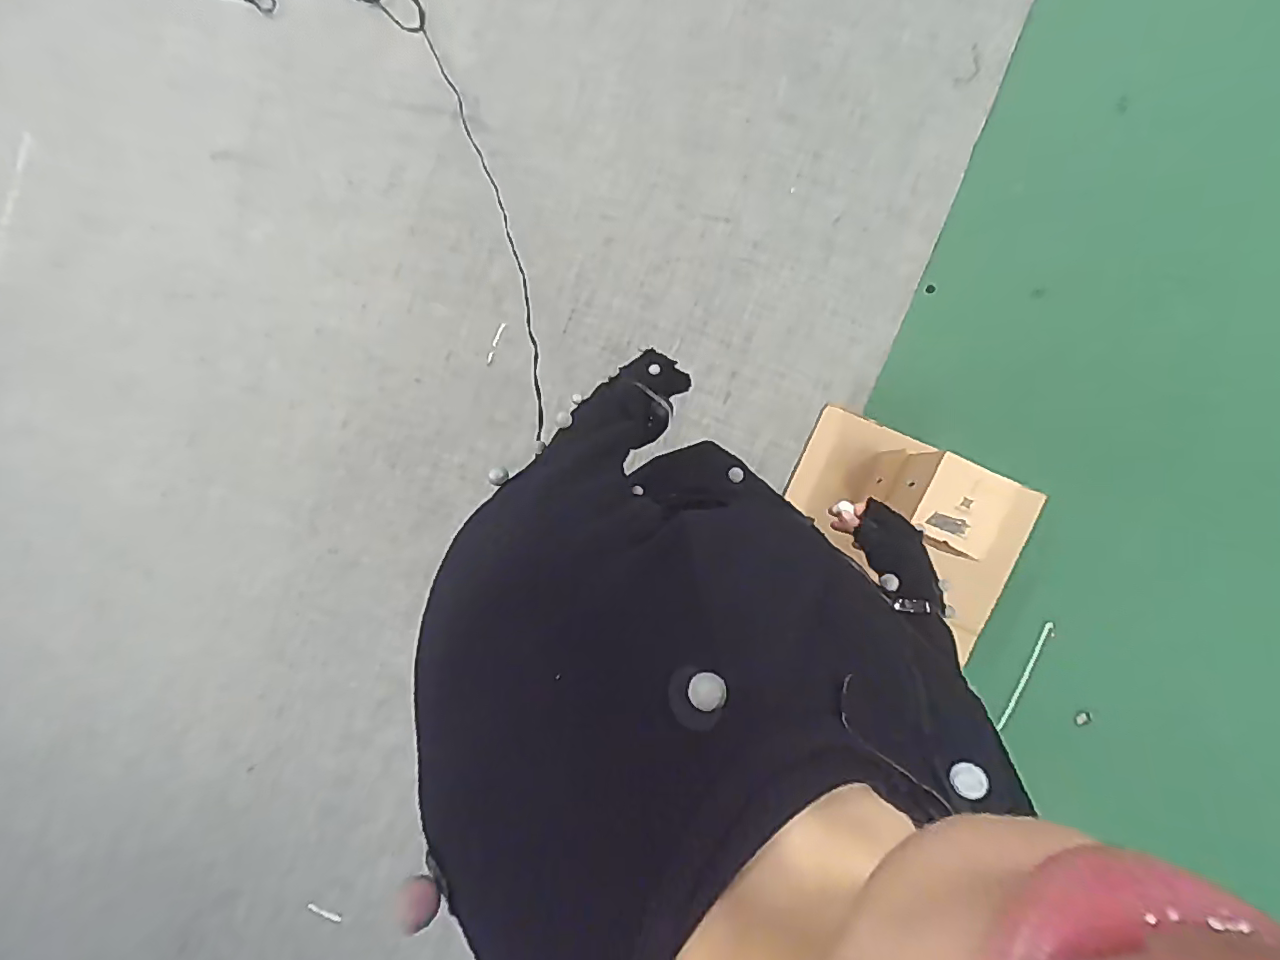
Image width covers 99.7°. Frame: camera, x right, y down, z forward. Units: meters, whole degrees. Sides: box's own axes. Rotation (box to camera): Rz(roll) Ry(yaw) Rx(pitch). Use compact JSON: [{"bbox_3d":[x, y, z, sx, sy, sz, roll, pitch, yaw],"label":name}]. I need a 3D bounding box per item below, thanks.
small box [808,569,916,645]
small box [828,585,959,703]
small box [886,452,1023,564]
[{"bbox_3d":[0.544,0.336,1.345,0.179,0.176,0.168,22,93,4],"label":"small box"},{"bbox_3d":[0.542,0.346,1.180,0.179,0.176,0.168,24,93,4],"label":"small box"},{"bbox_3d":[0.659,0.056,1.160,0.168,0.176,0.179,27,91,3],"label":"small box"}]
